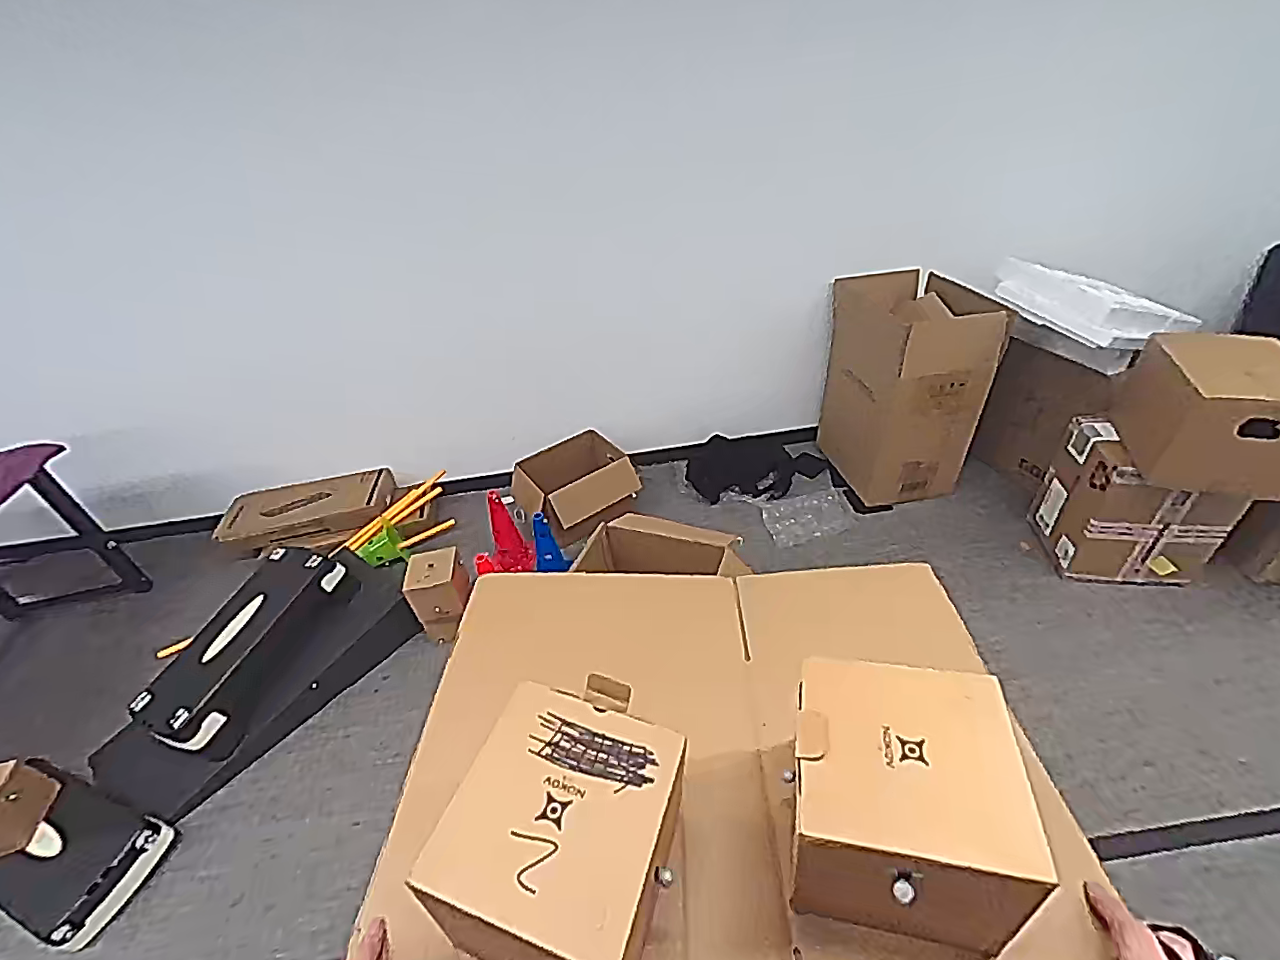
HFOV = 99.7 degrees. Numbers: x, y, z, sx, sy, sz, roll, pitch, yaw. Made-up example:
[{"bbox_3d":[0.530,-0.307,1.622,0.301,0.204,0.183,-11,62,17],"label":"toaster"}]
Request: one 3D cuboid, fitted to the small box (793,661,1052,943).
[{"bbox_3d":[0.239,0.299,0.511,0.179,0.176,0.168,1,37,16],"label":"small box"}]
